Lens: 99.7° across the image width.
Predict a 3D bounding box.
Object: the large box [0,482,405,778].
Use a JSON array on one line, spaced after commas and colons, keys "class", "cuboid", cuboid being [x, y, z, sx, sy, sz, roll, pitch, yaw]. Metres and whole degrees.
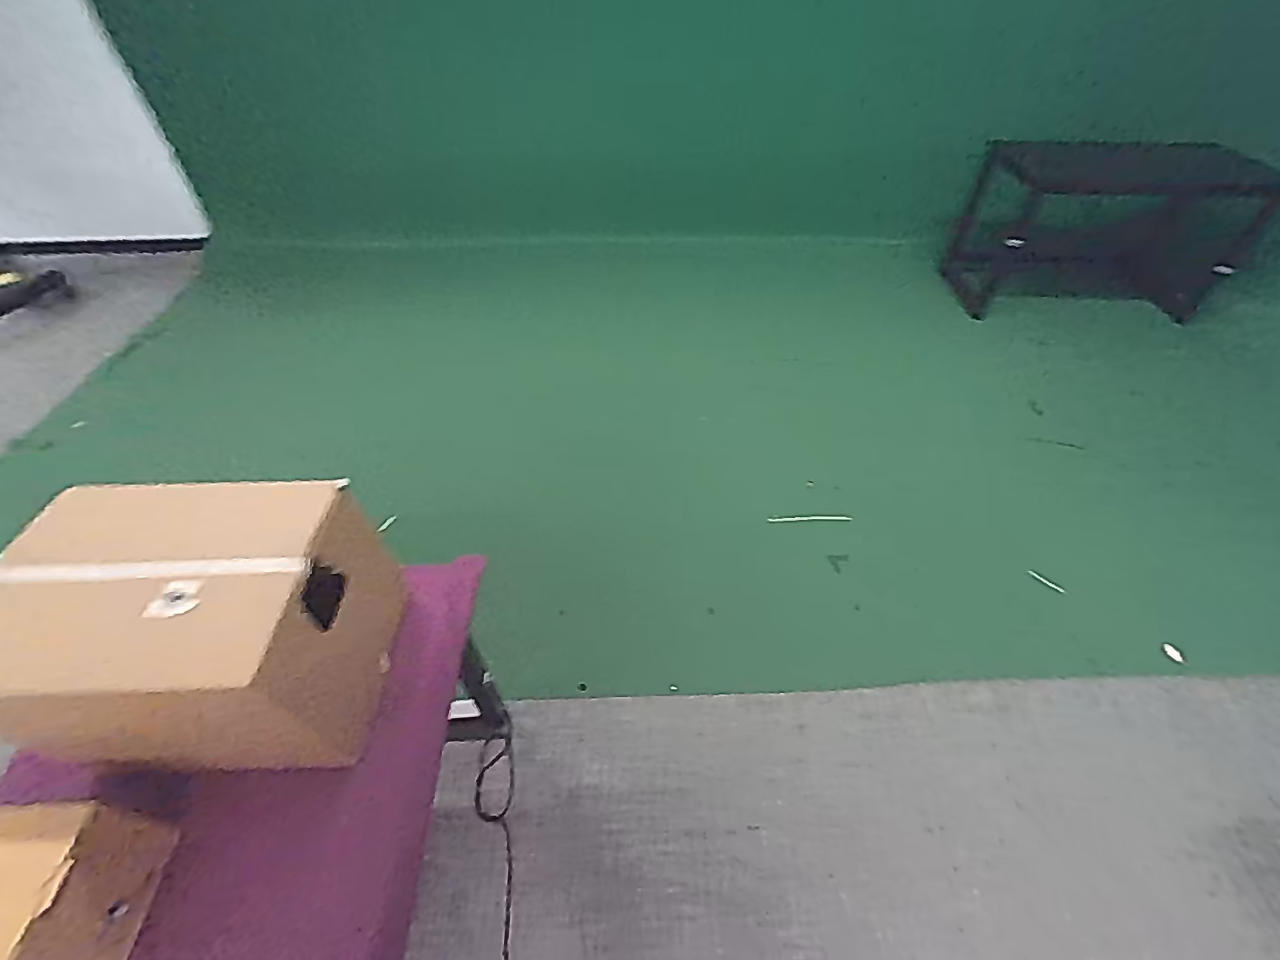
[{"class": "large box", "cuboid": [-0.628, 0.222, 0.800, 0.408, 0.320, 0.320, -1, 49, -2]}]
